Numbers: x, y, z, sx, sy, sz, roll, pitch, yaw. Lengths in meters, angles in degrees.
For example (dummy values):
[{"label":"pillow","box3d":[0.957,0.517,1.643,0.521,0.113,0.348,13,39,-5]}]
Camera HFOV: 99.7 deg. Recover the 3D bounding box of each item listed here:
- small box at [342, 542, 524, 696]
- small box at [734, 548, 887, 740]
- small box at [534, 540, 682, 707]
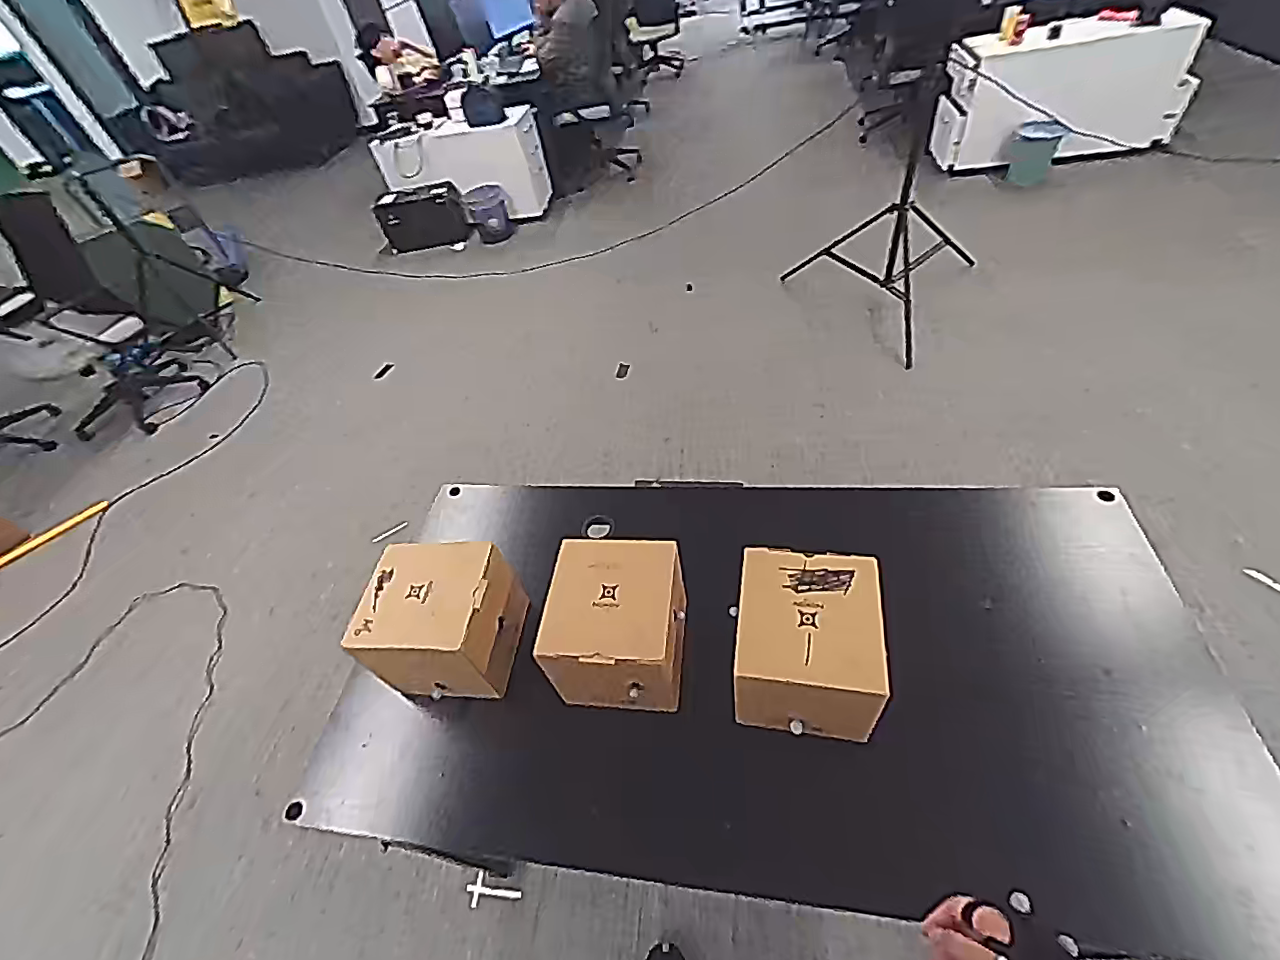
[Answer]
[{"label":"small box","box3d":[-0.289,0.209,0.806,0.179,0.176,0.168,-1,48,9]},{"label":"small box","box3d":[0.212,0.213,0.705,0.168,0.176,0.179,3,50,14]},{"label":"small box","box3d":[-0.031,0.204,0.763,0.168,0.176,0.179,0,48,10]}]
